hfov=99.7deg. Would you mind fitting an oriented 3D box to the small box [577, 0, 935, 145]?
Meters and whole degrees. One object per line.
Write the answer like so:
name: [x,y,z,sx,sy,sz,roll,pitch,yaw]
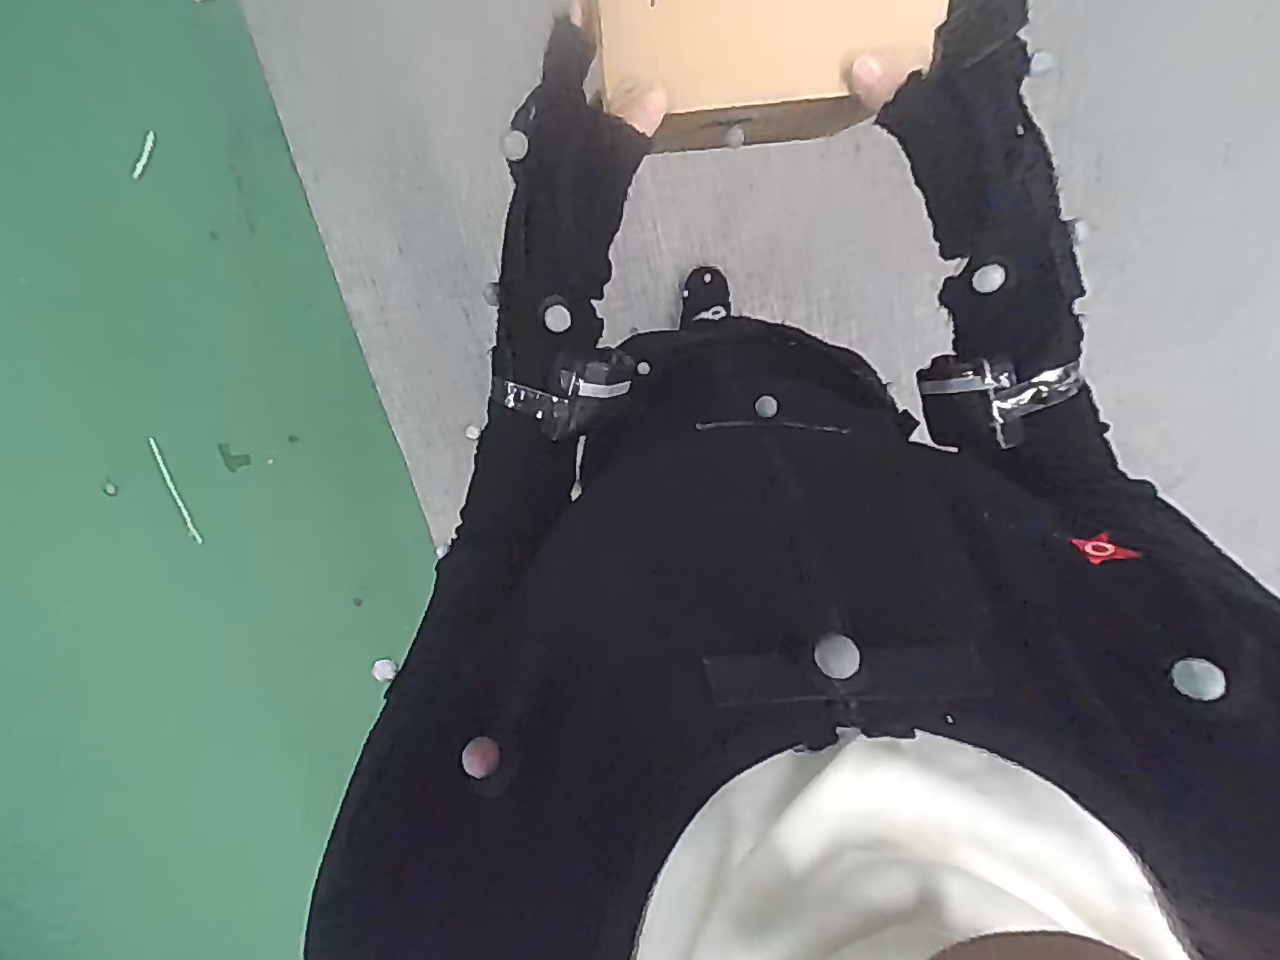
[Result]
small box: [0.055,-0.307,0.317,0.179,0.176,0.168,-4,115,2]
